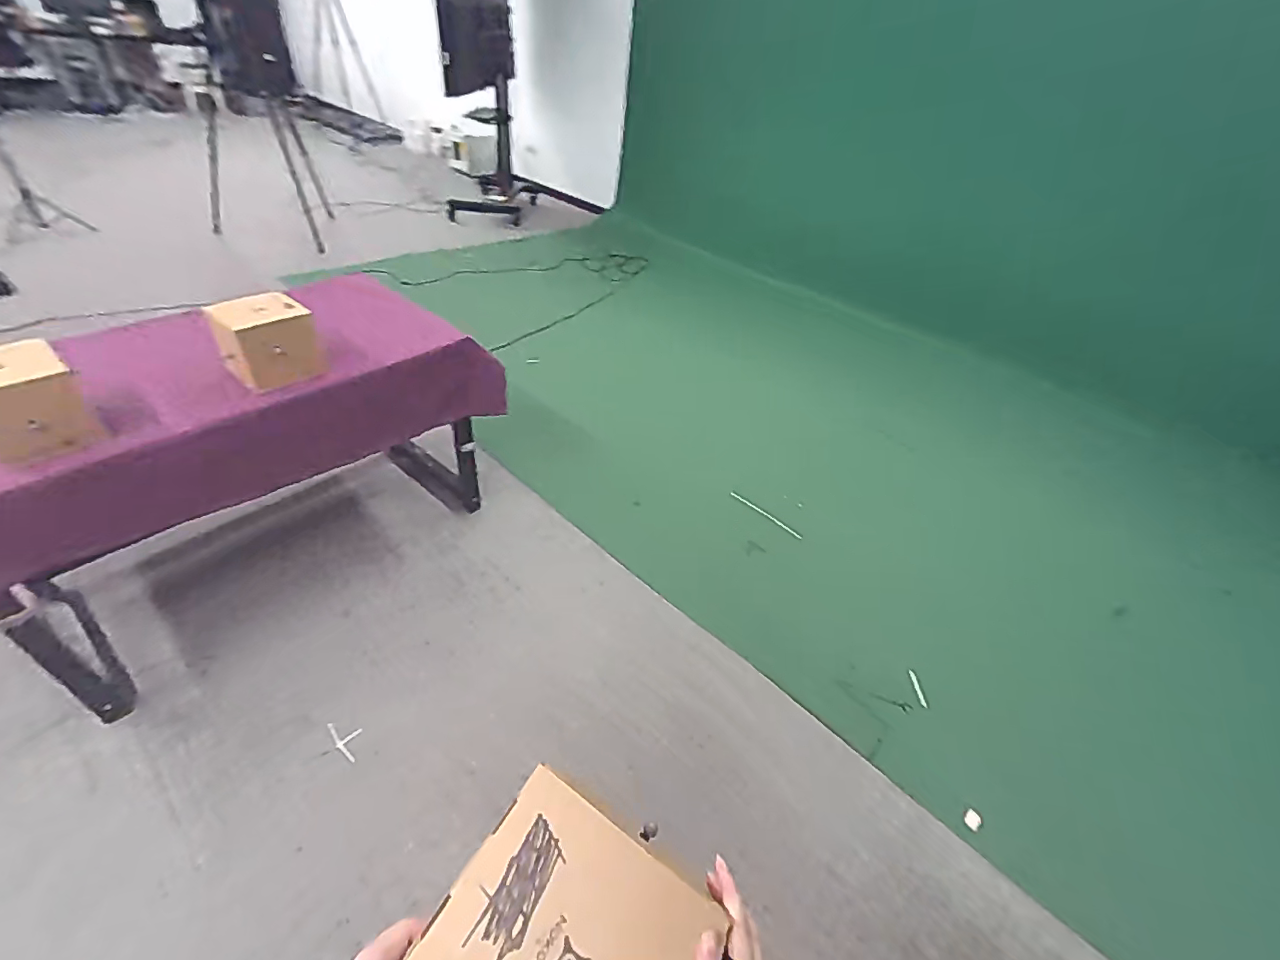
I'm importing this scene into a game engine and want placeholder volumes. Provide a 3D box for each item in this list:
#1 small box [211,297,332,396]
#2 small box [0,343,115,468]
[{"bbox_3d":[-0.915,-0.335,1.358,0.168,0.176,0.179,32,46,25],"label":"small box"},{"bbox_3d":[-1.208,-0.144,1.079,0.179,0.176,0.168,32,44,26],"label":"small box"}]
